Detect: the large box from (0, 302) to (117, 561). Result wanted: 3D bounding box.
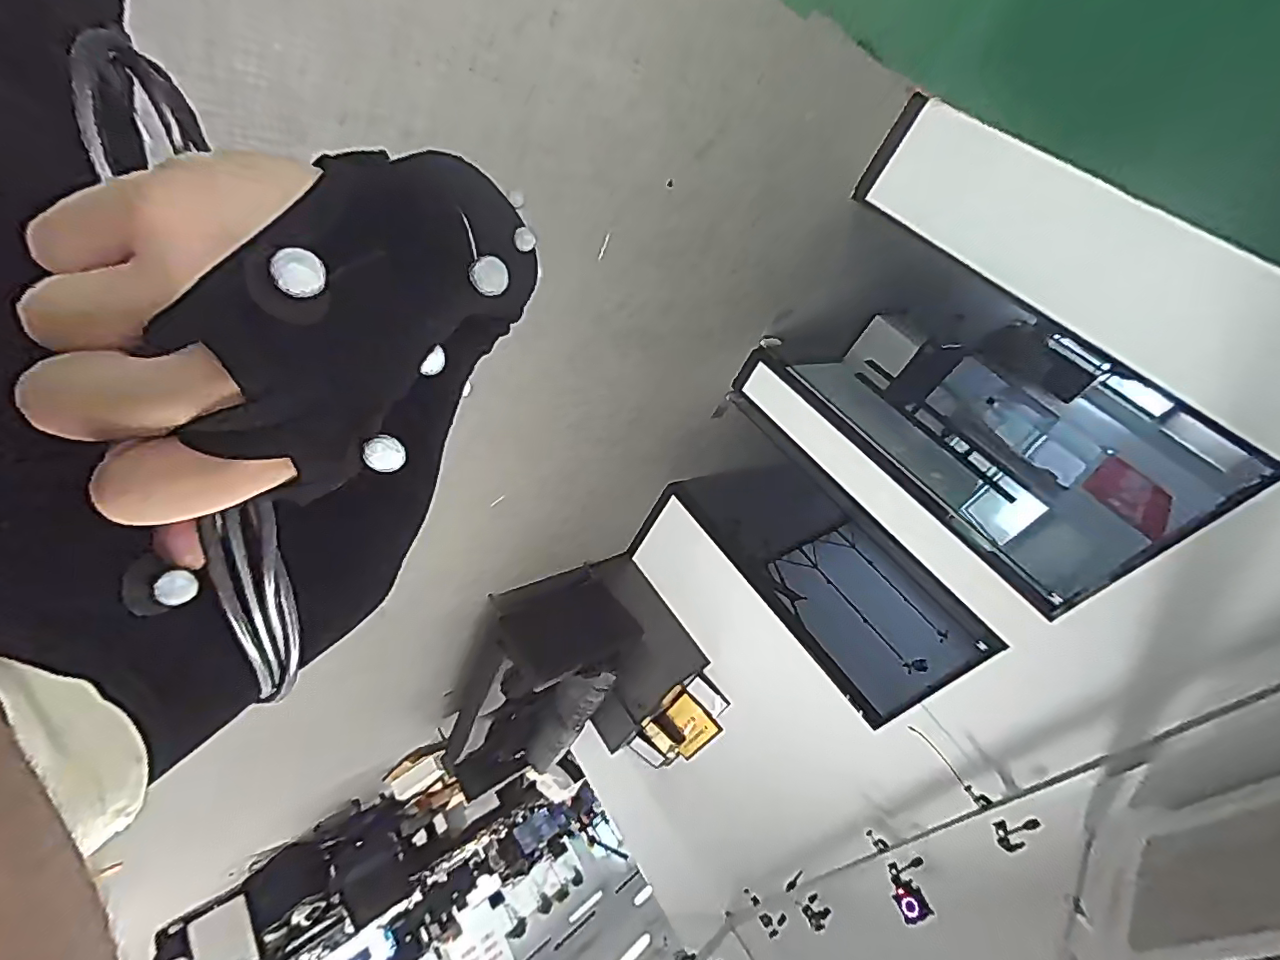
[{"bbox_3d":[-1.291,-0.083,1.008,0.320,0.320,0.408,-21,149,-34],"label":"large box"}]
